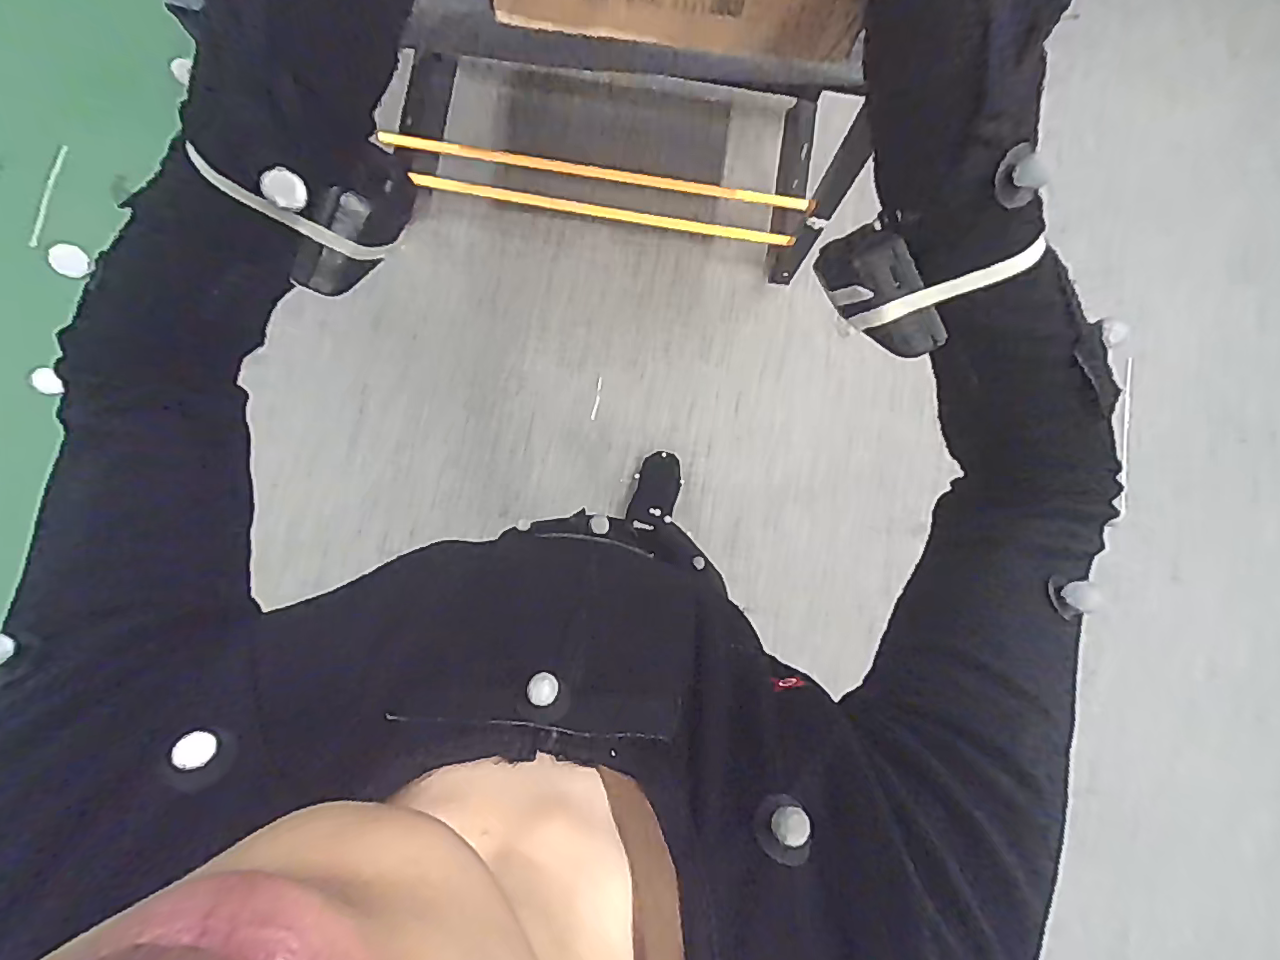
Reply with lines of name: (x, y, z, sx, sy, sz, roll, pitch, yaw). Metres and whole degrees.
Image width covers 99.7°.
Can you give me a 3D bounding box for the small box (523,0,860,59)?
small box: (0.027, -0.304, 0.189, 0.168, 0.176, 0.179, 4, 81, -3)
